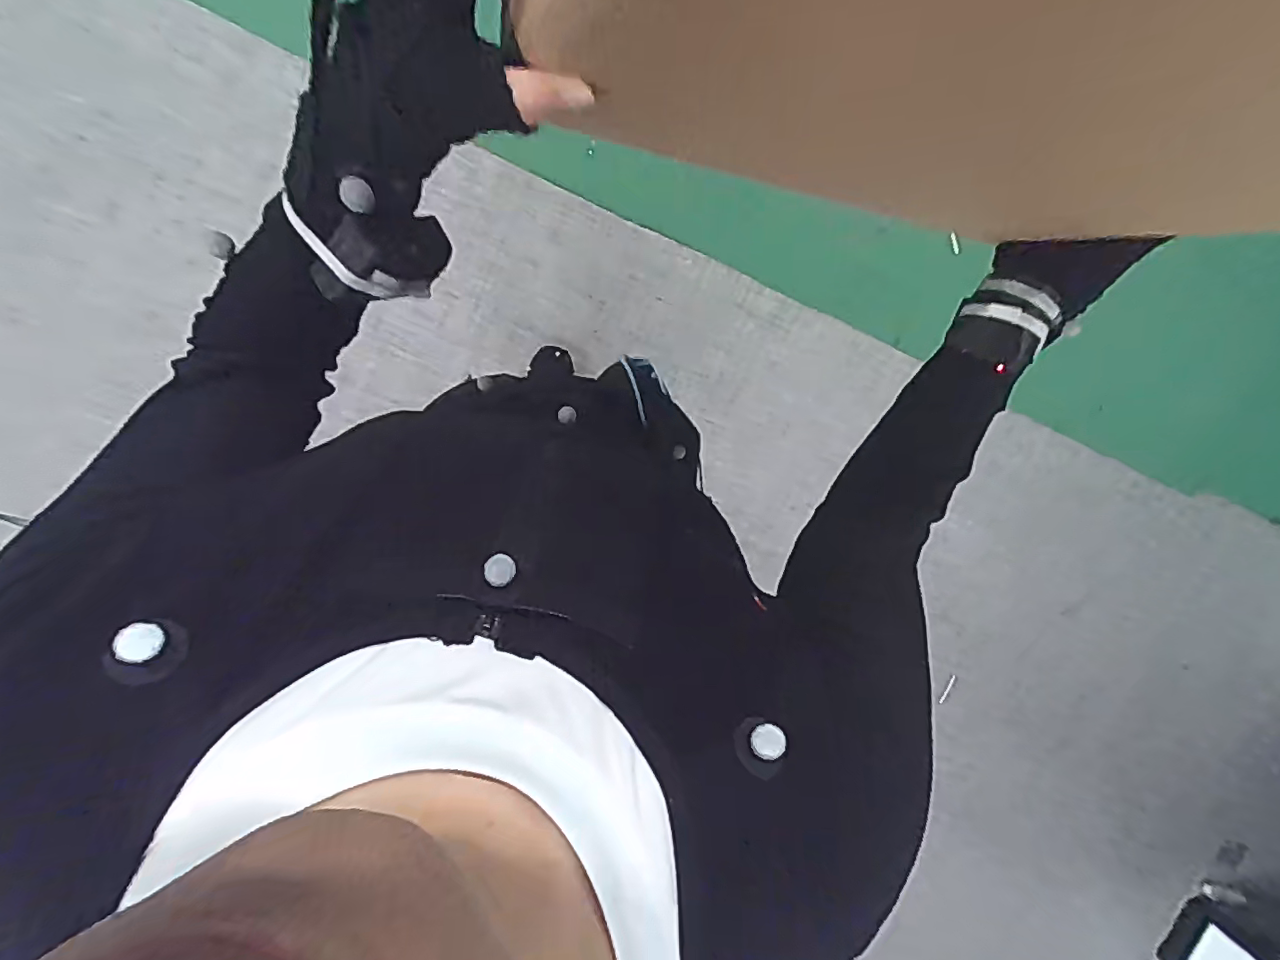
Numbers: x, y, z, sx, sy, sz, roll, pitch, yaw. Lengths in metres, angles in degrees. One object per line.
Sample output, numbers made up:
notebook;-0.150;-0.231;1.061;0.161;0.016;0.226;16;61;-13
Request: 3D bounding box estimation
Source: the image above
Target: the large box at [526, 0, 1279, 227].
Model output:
large box;0.193;-0.293;0.186;0.408;0.320;0.320;-1;111;-25
